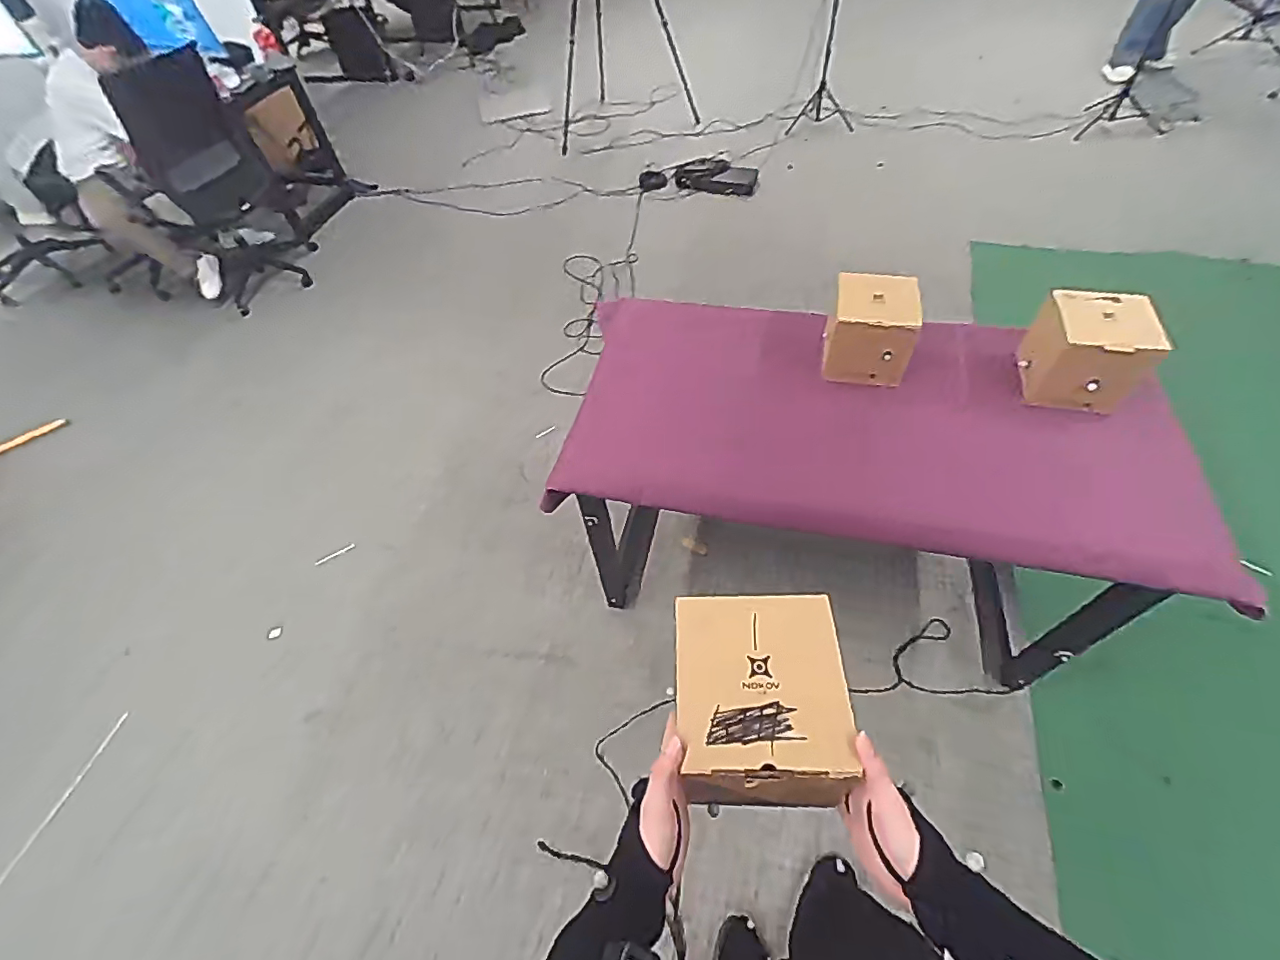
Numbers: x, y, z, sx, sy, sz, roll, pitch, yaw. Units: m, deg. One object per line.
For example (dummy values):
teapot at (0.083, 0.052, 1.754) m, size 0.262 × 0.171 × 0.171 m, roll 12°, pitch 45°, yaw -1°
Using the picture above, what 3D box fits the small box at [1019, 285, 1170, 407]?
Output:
small box at (0.905, -0.269, 1.099) m, size 0.168 × 0.176 × 0.179 m, roll 9°, pitch 56°, yaw 13°

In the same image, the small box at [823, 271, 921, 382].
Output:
small box at (0.506, -0.337, 1.197) m, size 0.168 × 0.176 × 0.179 m, roll 8°, pitch 55°, yaw 12°

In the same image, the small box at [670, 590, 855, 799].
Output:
small box at (0.122, 0.239, 0.594) m, size 0.168 × 0.176 × 0.179 m, roll -3°, pitch 50°, yaw 6°
